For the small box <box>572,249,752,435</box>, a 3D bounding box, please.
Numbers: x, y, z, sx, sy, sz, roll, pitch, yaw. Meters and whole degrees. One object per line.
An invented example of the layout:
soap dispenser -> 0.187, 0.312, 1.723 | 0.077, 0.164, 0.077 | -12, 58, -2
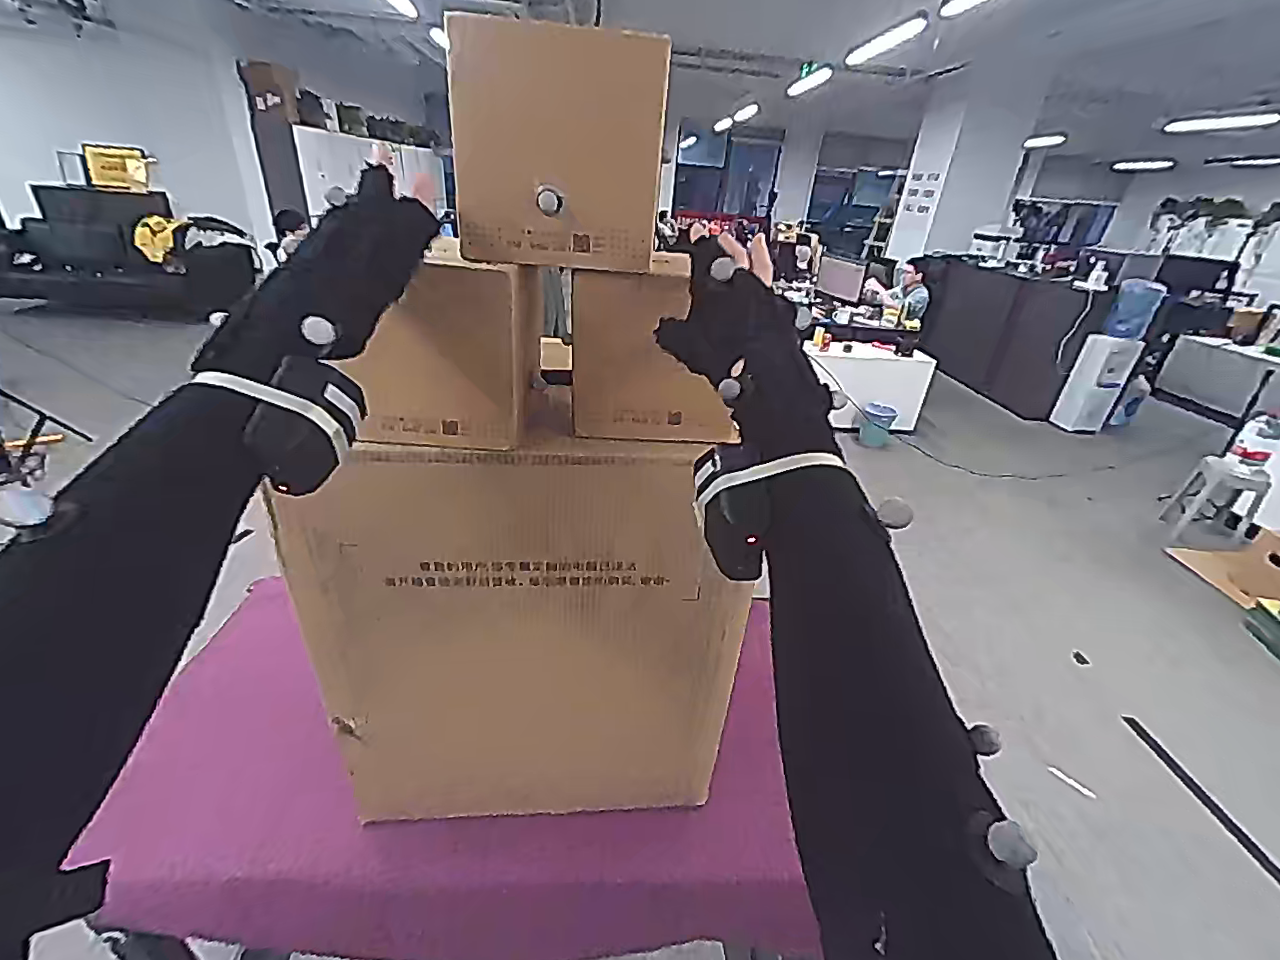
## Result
small box -> 0.018, -0.156, 0.594 | 0.168, 0.176, 0.179 | 3, 27, -2

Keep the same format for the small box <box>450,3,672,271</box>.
small box -> -0.066, -0.300, 0.502 | 0.168, 0.176, 0.179 | 3, 29, -4
